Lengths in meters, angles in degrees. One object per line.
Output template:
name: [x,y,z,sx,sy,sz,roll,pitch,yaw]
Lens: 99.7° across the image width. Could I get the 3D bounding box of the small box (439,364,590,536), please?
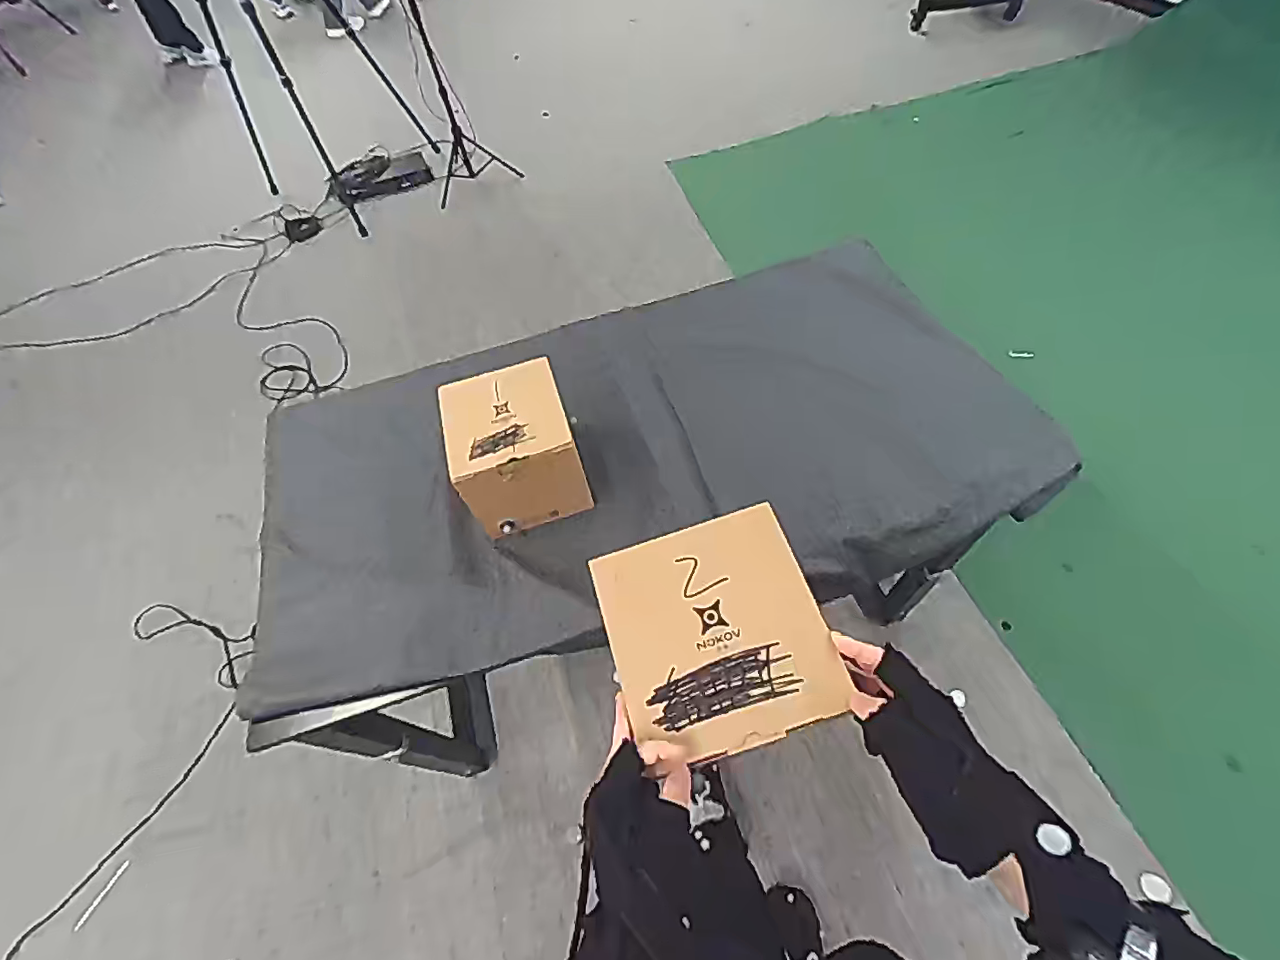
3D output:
small box: [-0.181,-0.035,0.804,0.168,0.176,0.179,-17,56,-5]
